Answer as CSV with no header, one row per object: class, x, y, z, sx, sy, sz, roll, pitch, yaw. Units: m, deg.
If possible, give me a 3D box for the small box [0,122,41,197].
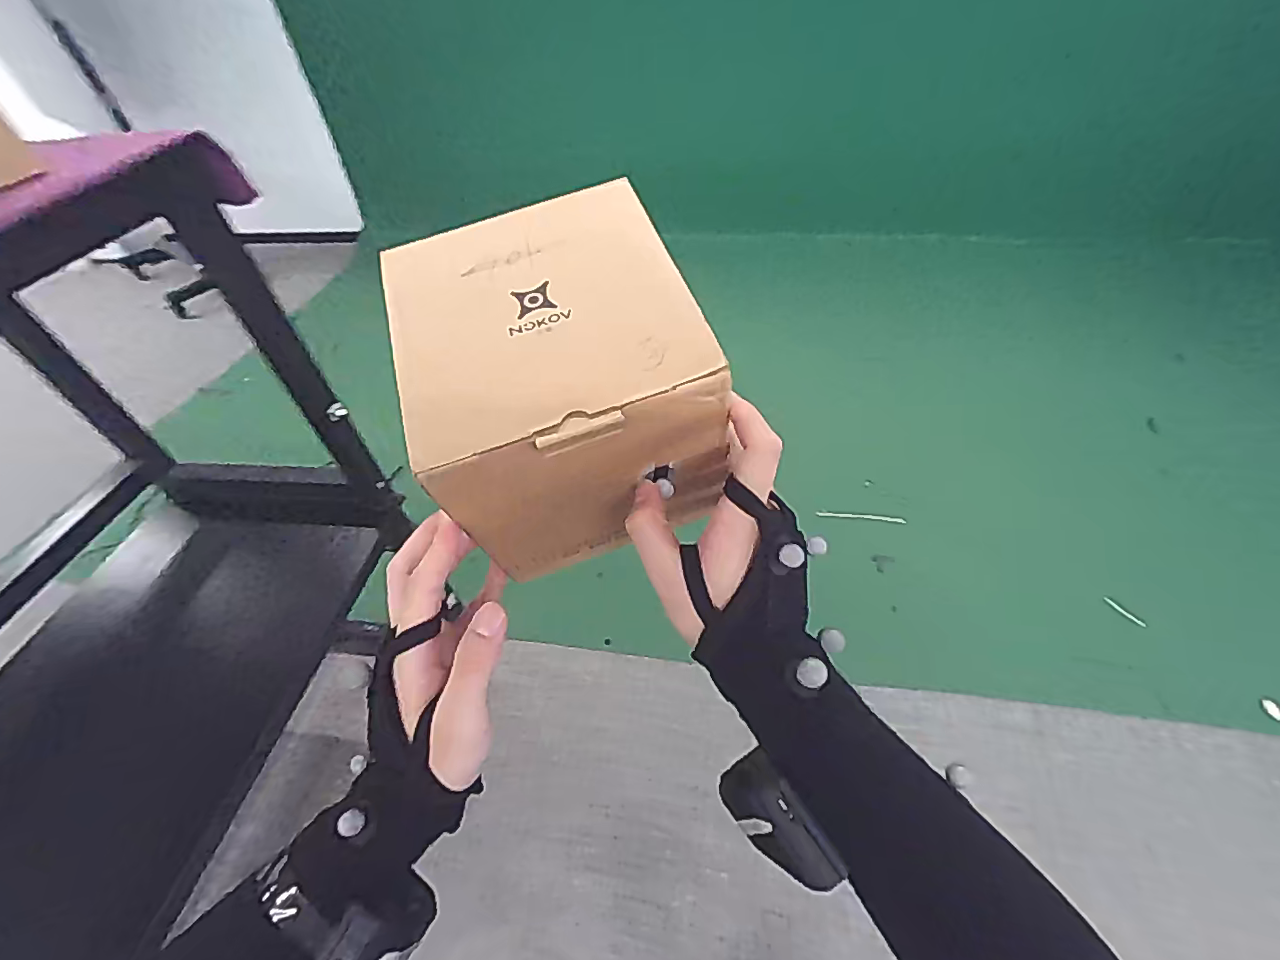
small box,-0.798,-0.358,0.541,0.168,0.176,0.179,3,47,9
